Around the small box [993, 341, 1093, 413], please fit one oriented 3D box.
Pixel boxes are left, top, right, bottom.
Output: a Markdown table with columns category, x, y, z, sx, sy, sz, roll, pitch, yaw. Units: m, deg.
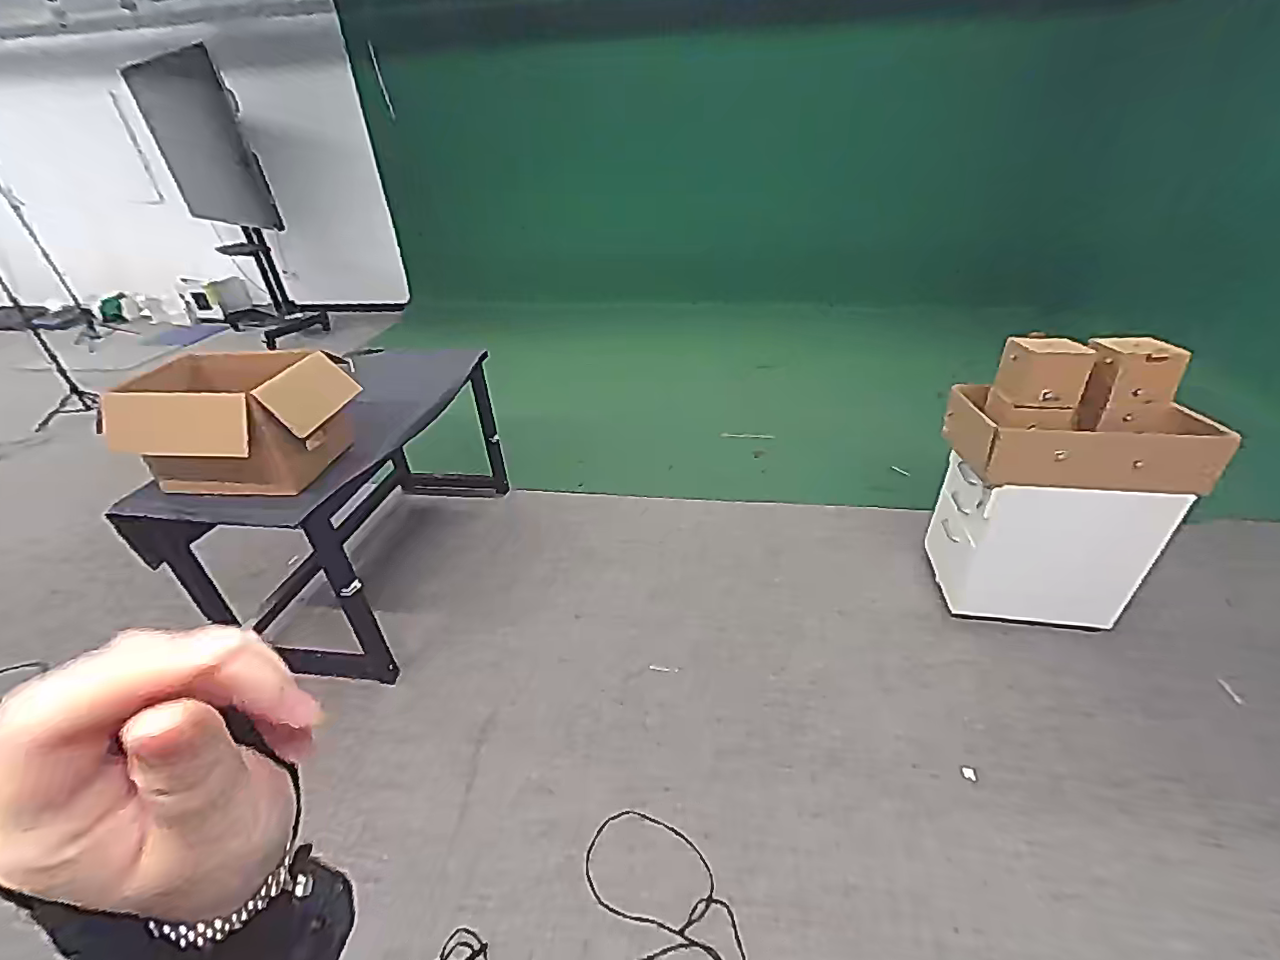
| category | x | y | z | sx | sy | sz | roll | pitch | yaw |
| --- | --- | --- | --- | --- | --- | --- | --- | --- | --- |
| small box | 1.202 | -0.314 | 1.632 | 0.168 | 0.176 | 0.179 | 2 | 28 | 8 |

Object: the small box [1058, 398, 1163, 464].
| category | x | y | z | sx | sy | sz | roll | pitch | yaw |
| --- | --- | --- | --- | --- | --- | --- | --- | --- | --- |
| small box | 1.446 | -0.160 | 1.677 | 0.168 | 0.176 | 0.179 | 0 | 27 | 10 |

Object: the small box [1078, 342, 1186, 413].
| category | x | y | z | sx | sy | sz | roll | pitch | yaw |
| --- | --- | --- | --- | --- | --- | --- | --- | --- | --- |
| small box | 1.435 | -0.305 | 1.605 | 0.168 | 0.176 | 0.179 | 1 | 28 | 9 |
